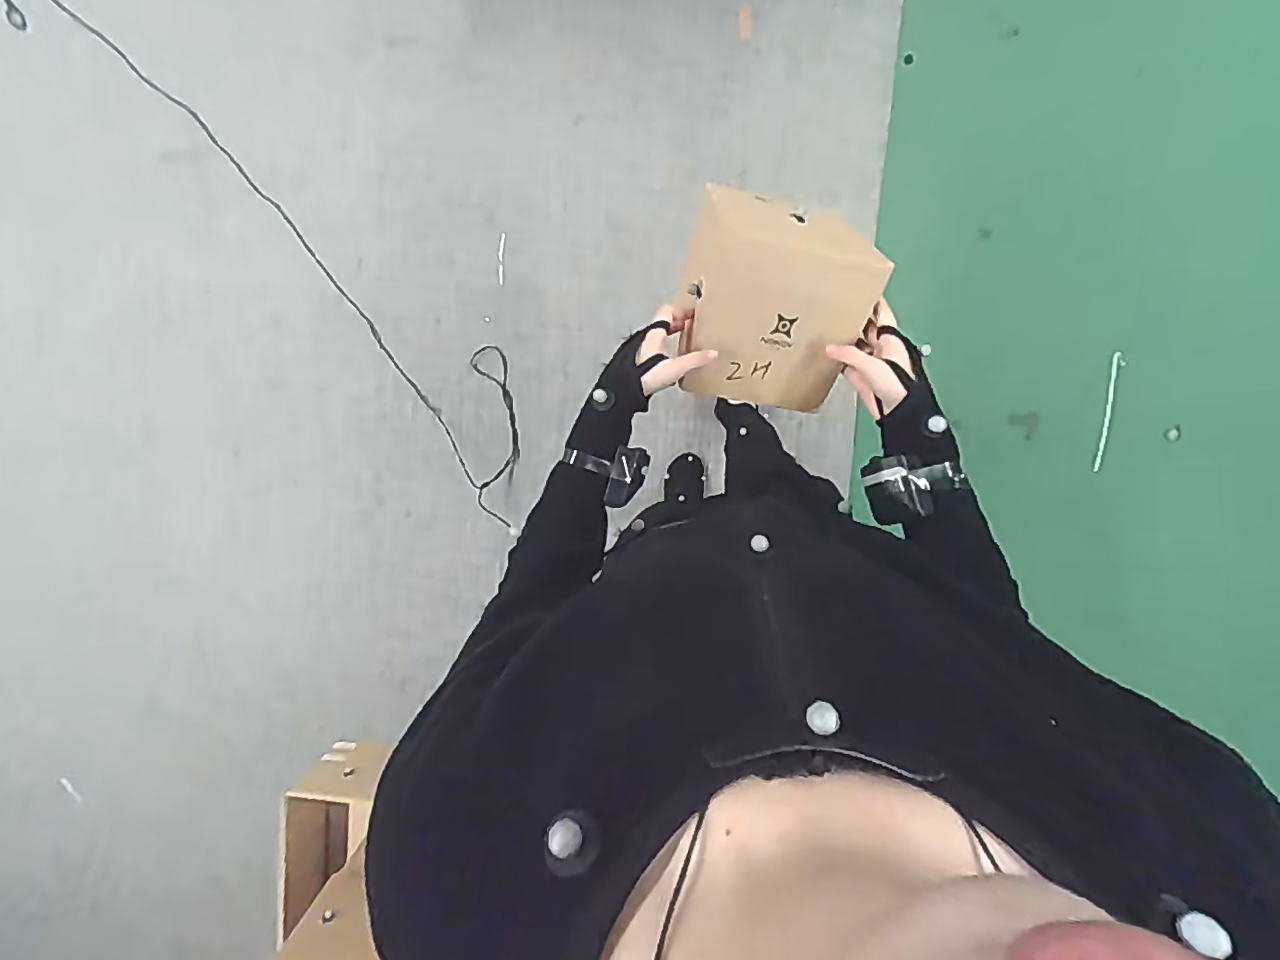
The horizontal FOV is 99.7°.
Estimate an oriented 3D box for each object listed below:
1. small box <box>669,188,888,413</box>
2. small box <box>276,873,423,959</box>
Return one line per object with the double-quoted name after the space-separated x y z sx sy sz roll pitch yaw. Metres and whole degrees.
0.133 -0.203 0.607 0.168 0.176 0.179 8 131 -10 "small box"
-0.517 0.848 0.964 0.179 0.176 0.168 10 96 1 "small box"
